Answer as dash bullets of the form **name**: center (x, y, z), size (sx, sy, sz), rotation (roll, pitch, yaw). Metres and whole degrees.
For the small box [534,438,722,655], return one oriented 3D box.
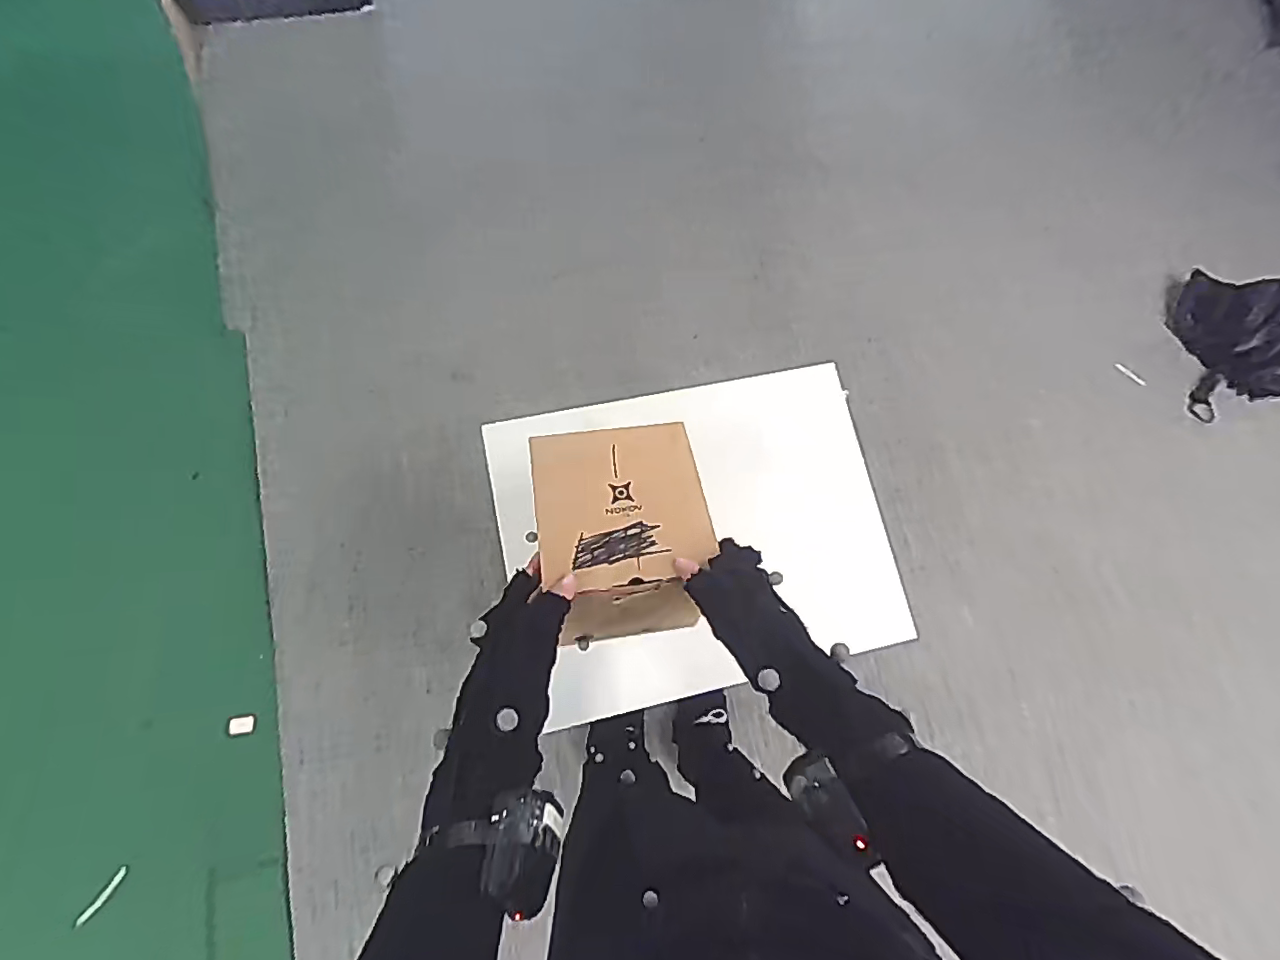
- **small box**: center (-0.021, 0.080, 0.591), size (0.168, 0.176, 0.179), rotation (-6, 56, -8)
